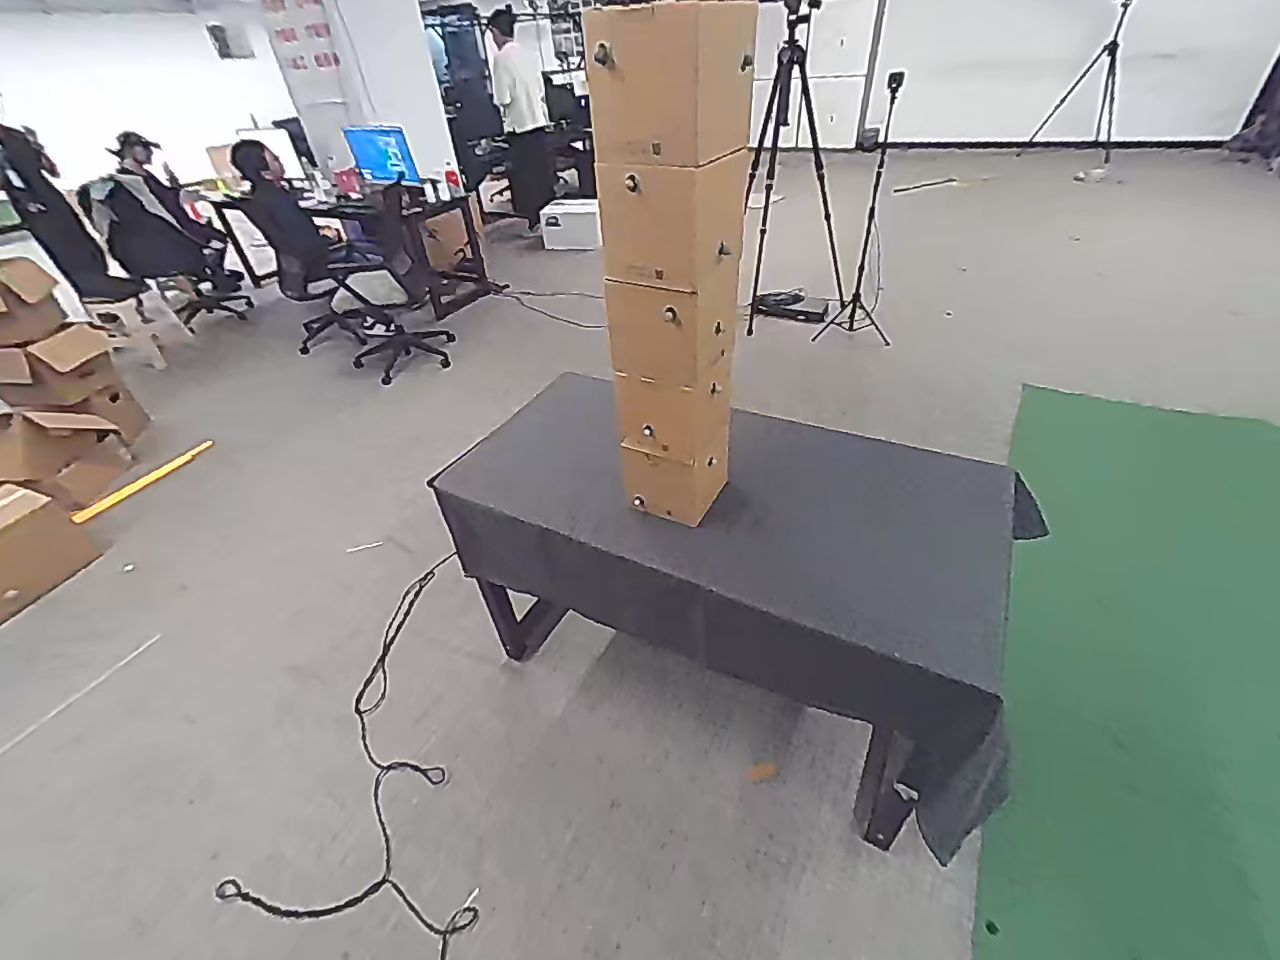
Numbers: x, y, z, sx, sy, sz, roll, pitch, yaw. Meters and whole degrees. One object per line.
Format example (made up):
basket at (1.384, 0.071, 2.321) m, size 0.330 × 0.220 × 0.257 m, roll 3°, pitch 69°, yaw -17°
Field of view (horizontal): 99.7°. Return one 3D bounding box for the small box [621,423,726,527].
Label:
small box at (0.078, -0.026, 1.163) m, size 0.168 × 0.176 × 0.179 m, roll 16°, pitch 42°, yaw 25°

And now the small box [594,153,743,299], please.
small box at (0.048, -0.404, 0.853) m, size 0.168 × 0.176 × 0.179 m, roll 19°, pitch 44°, yaw 26°

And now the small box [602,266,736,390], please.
small box at (0.056, -0.278, 0.957) m, size 0.179 × 0.176 × 0.168 m, roll 18°, pitch 44°, yaw 26°

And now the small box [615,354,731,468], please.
small box at (0.067, -0.152, 1.062) m, size 0.168 × 0.176 × 0.179 m, roll 16°, pitch 44°, yaw 25°
